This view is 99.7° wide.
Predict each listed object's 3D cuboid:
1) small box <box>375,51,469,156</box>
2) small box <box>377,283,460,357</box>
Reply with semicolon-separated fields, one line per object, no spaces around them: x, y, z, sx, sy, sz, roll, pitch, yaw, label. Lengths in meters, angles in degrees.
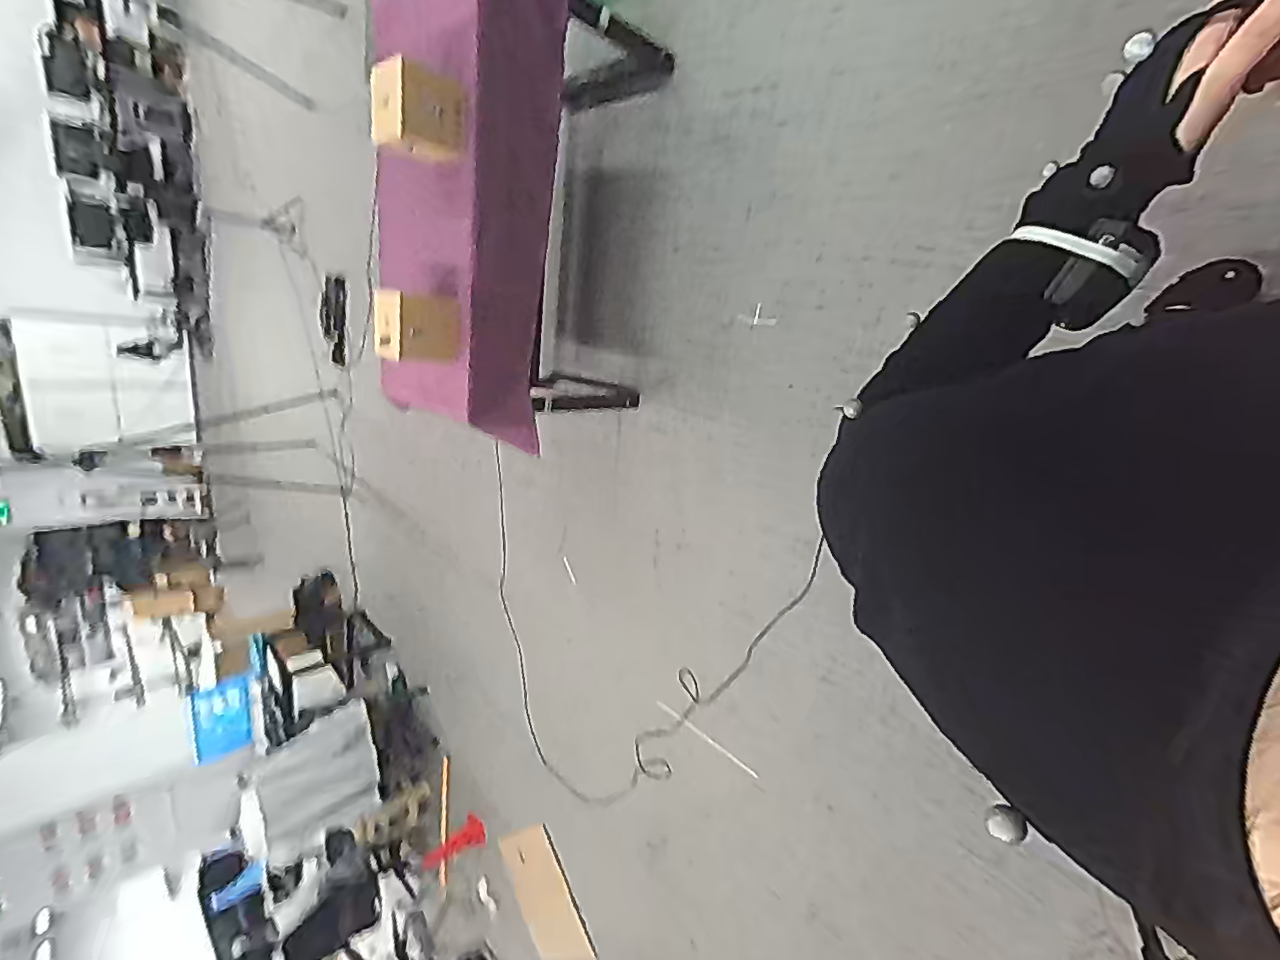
-0.552;-0.944;1.373;0.179;0.176;0.168;23;112;39;small box
-0.624;-0.448;1.524;0.168;0.176;0.179;22;111;39;small box
